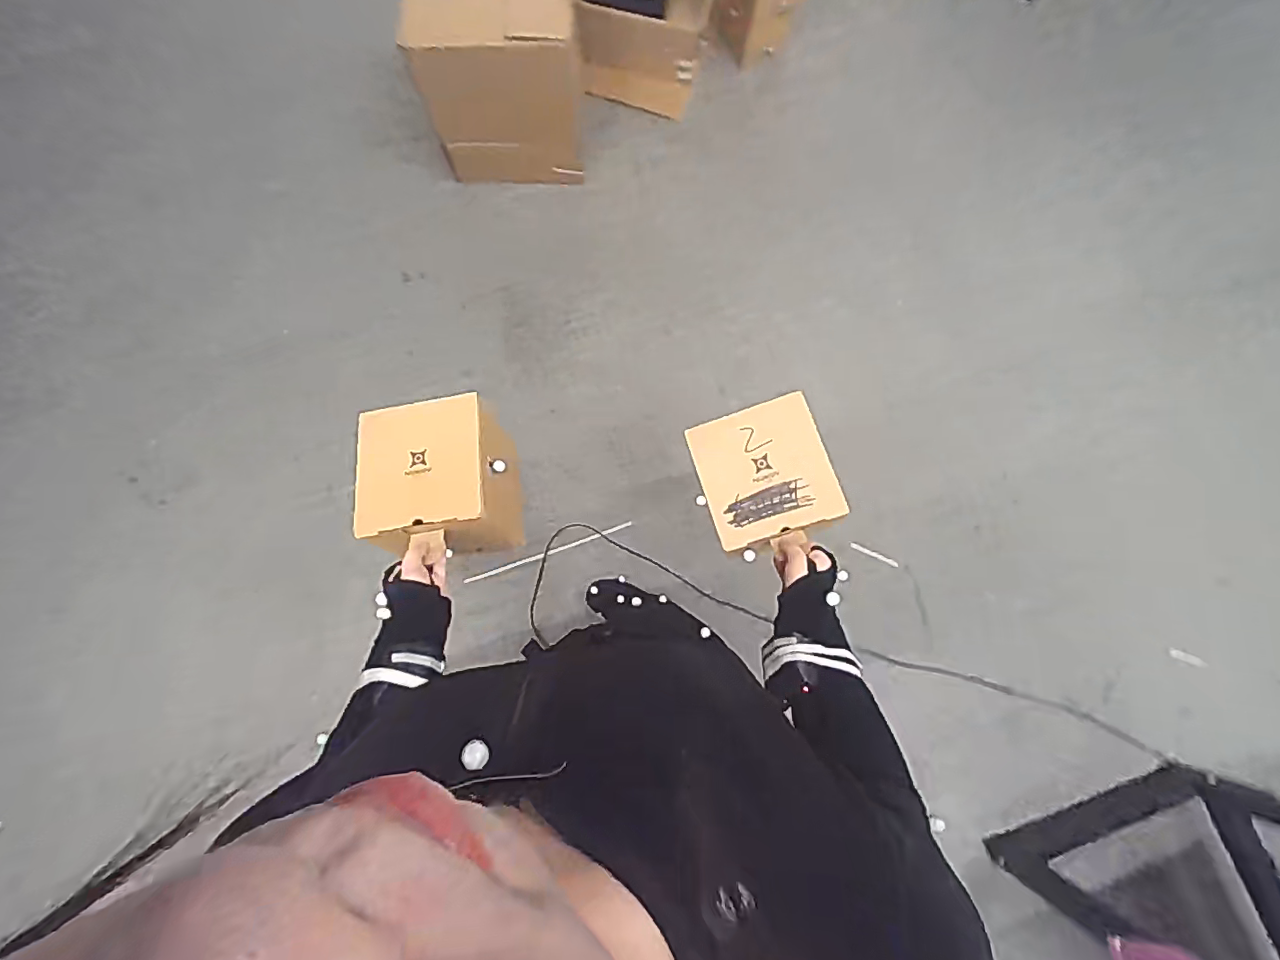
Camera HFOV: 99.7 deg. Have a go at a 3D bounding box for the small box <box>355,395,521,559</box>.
[{"bbox_3d":[-0.275,0.003,0.772,0.168,0.176,0.179,-8,70,4],"label":"small box"}]
